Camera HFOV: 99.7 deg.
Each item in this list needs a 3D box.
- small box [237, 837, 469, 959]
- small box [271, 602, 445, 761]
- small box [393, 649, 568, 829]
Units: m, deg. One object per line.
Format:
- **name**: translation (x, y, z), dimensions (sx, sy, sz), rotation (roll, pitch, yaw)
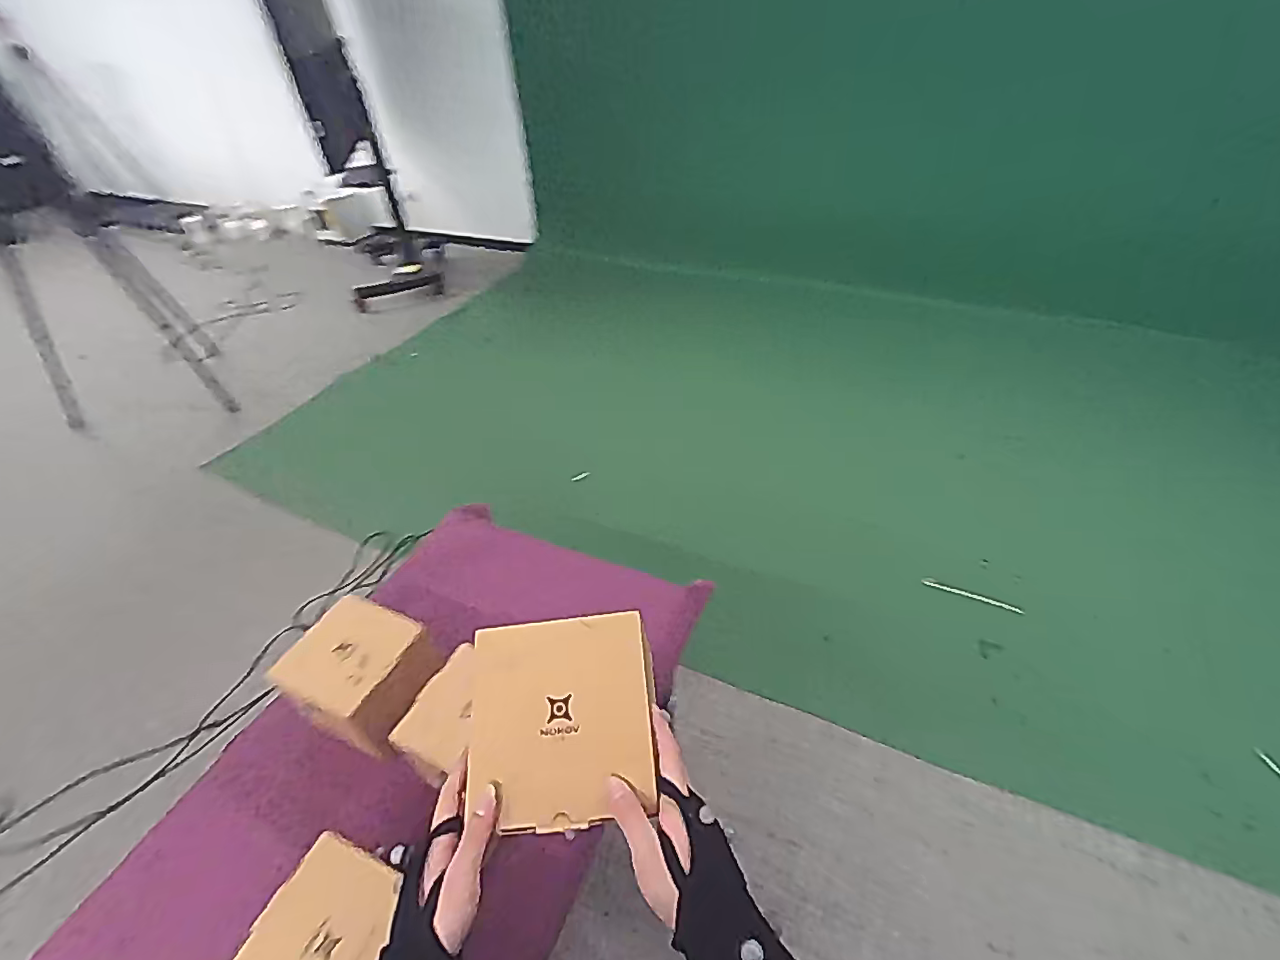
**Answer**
- **small box**: translation (-0.340, 0.575, 0.648), dimensions (0.179, 0.176, 0.168), rotation (14, 46, 19)
- **small box**: translation (-0.459, 0.342, 0.915), dimensions (0.179, 0.176, 0.168), rotation (15, 46, 20)
- **small box**: translation (-0.233, 0.398, 0.832), dimensions (0.179, 0.176, 0.168), rotation (14, 46, 21)
